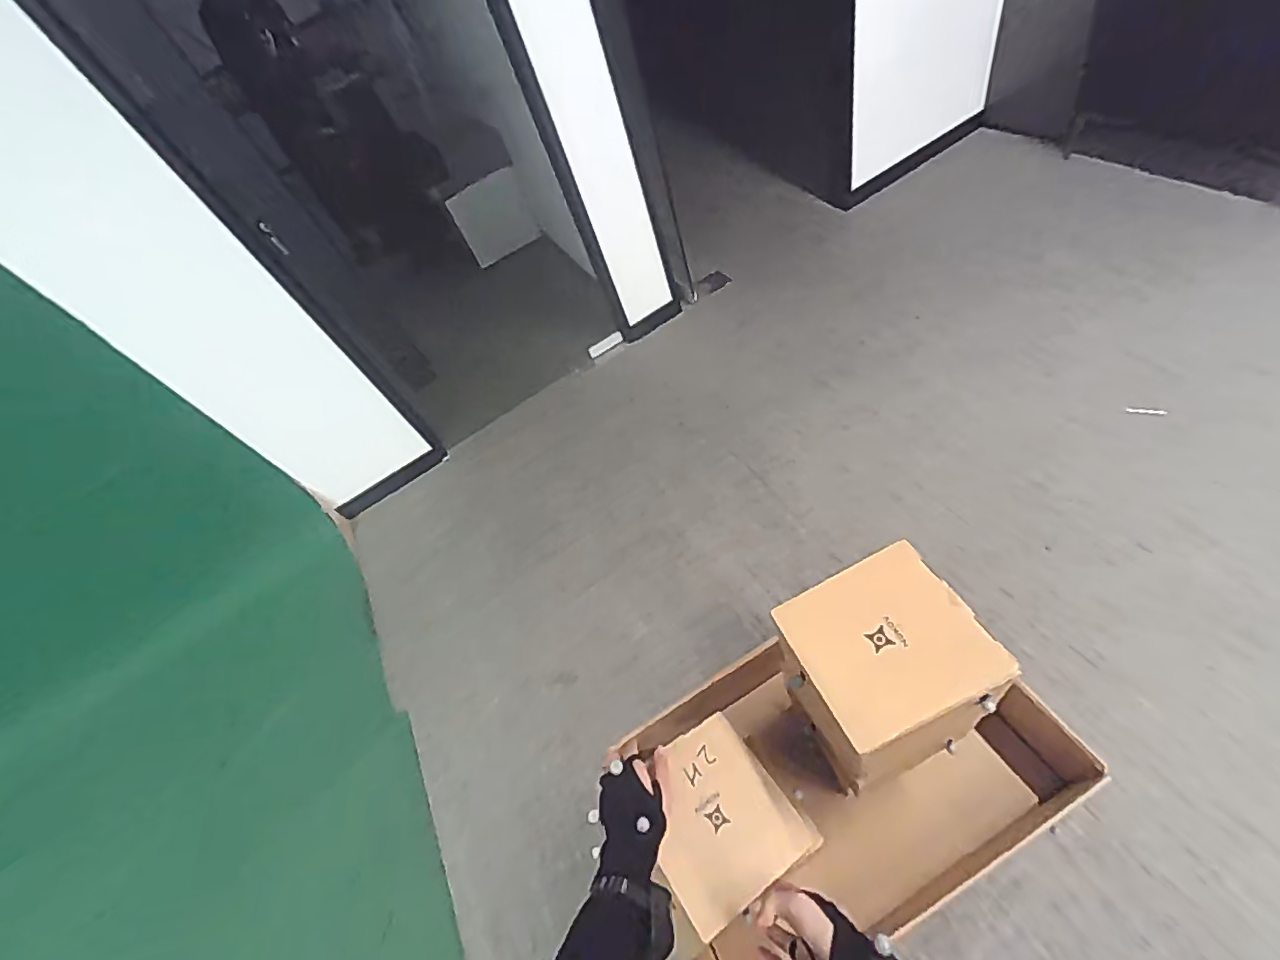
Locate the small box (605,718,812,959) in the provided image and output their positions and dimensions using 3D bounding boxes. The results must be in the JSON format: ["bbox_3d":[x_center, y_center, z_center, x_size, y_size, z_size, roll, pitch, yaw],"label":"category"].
[{"bbox_3d":[0.071,0.439,0.660,0.168,0.176,0.179,-20,48,-28],"label":"small box"}]

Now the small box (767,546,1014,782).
[{"bbox_3d":[0.269,0.213,0.608,0.179,0.176,0.168,-28,50,0],"label":"small box"}]
